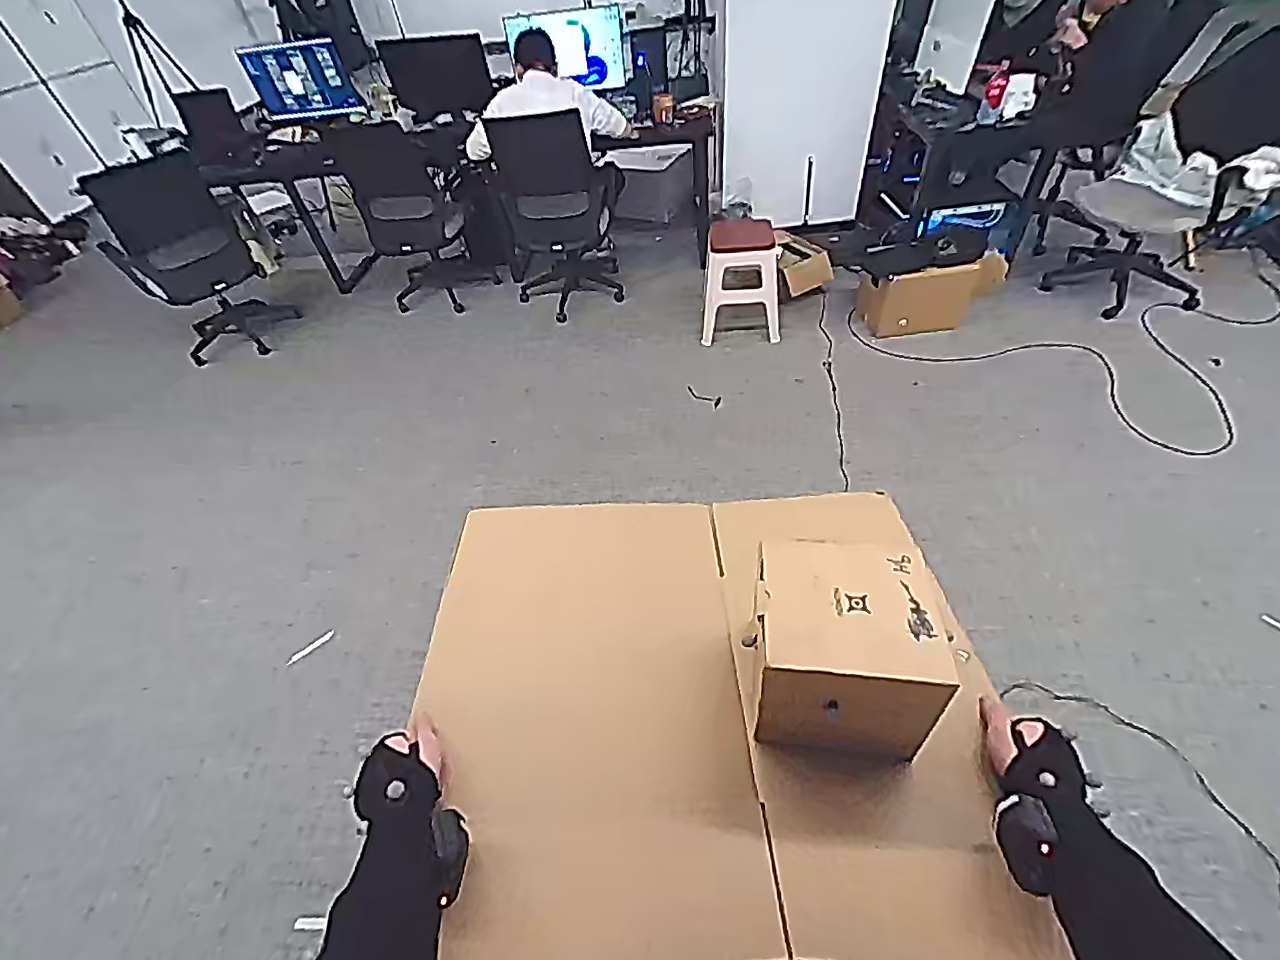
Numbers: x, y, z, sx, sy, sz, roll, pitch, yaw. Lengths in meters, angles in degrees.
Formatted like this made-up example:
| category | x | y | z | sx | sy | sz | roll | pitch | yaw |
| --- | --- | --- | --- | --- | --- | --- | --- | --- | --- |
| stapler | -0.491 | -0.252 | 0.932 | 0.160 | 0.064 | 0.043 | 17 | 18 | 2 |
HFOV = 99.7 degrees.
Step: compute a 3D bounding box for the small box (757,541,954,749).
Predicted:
| category | x | y | z | sx | sy | sz | roll | pitch | yaw |
| --- | --- | --- | --- | --- | --- | --- | --- | --- | --- |
| small box | 0.225 | 0.188 | 0.620 | 0.179 | 0.176 | 0.168 | 1 | 43 | 10 |
